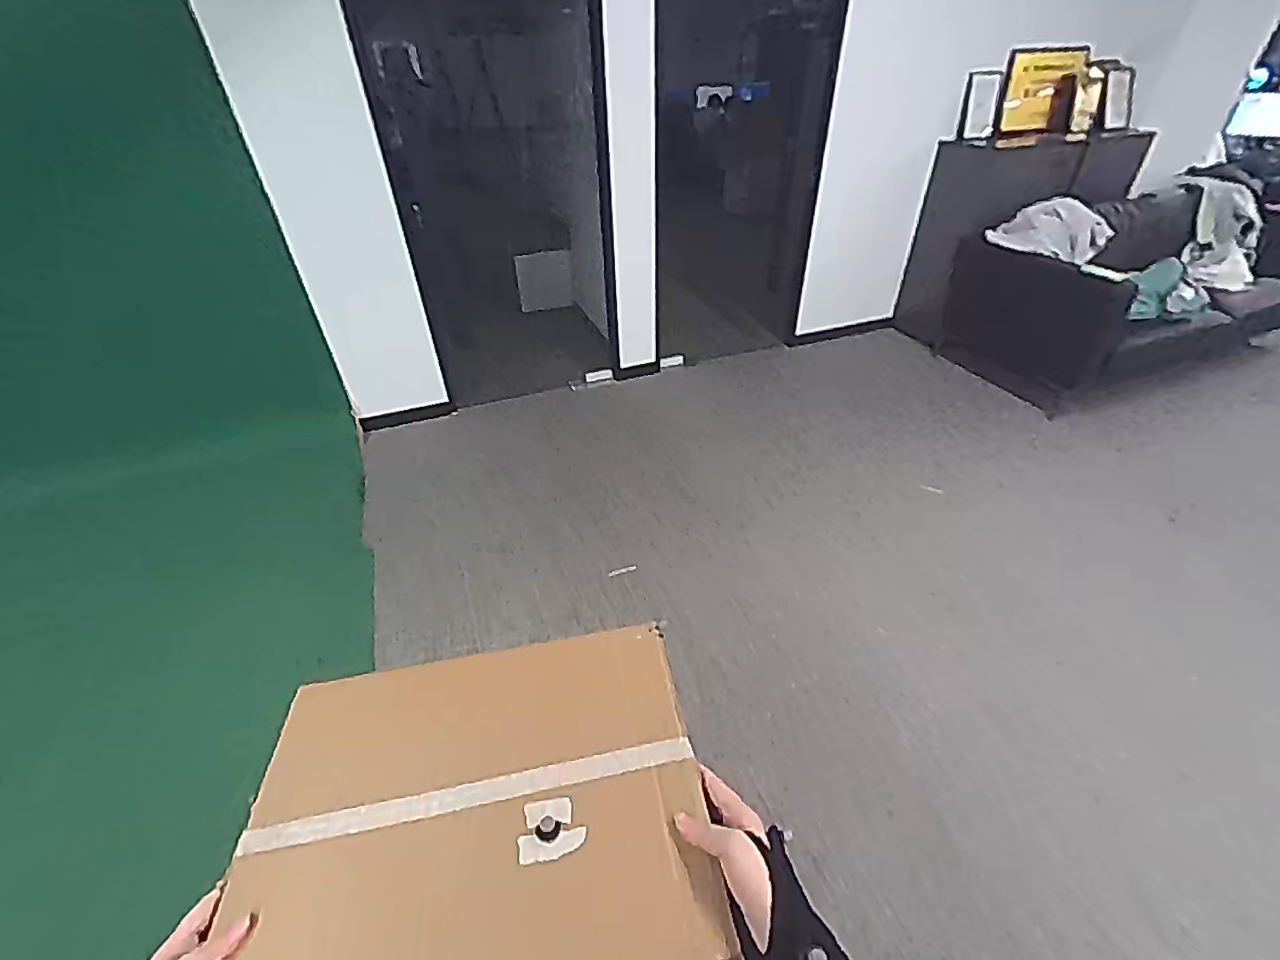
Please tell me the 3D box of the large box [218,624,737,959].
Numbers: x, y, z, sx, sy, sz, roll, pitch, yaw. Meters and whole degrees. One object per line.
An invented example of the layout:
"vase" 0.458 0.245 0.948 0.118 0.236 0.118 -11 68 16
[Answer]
"large box" -0.142 0.411 0.596 0.408 0.320 0.320 -8 37 -8
